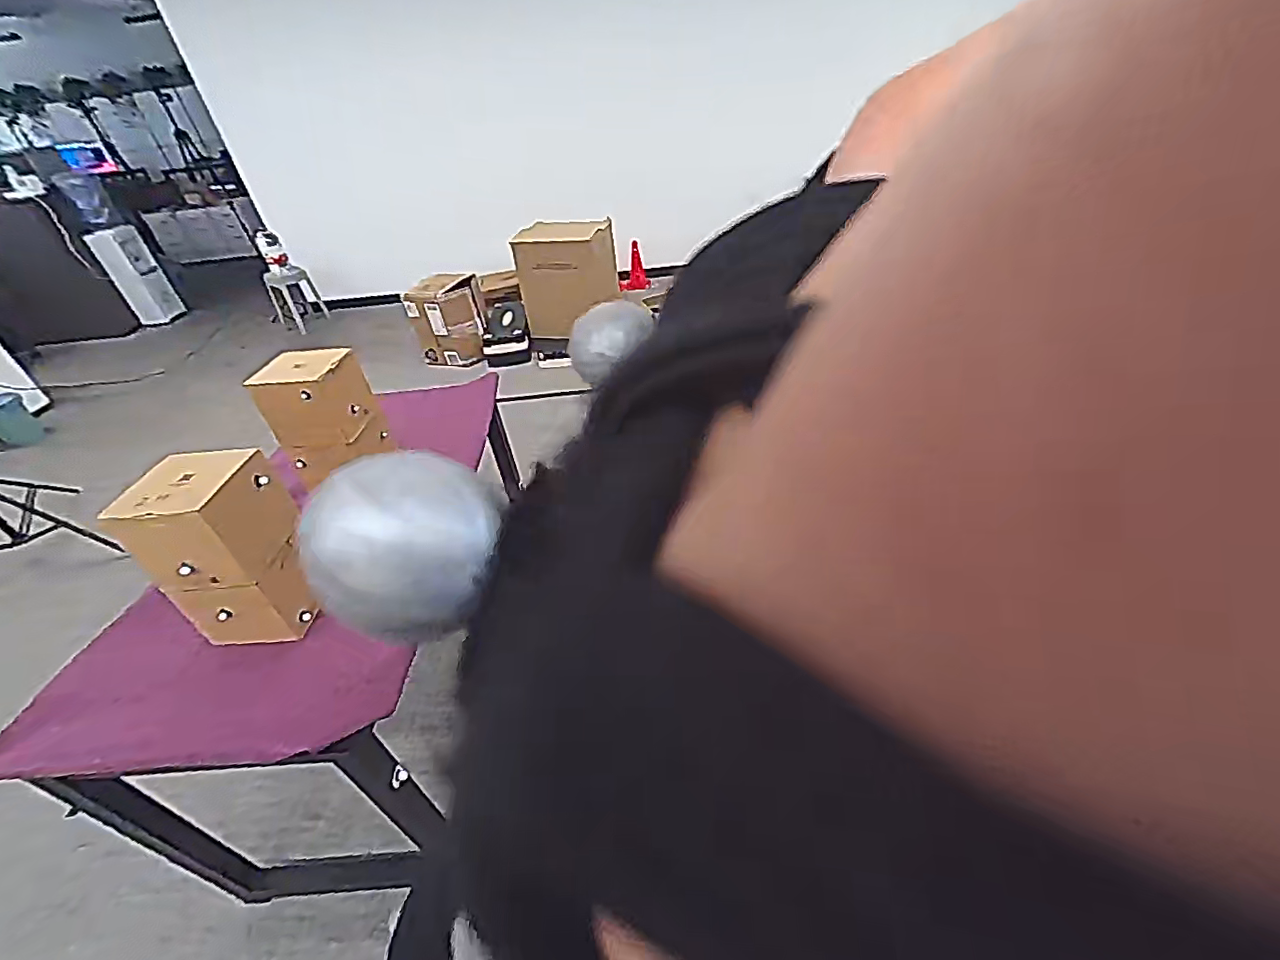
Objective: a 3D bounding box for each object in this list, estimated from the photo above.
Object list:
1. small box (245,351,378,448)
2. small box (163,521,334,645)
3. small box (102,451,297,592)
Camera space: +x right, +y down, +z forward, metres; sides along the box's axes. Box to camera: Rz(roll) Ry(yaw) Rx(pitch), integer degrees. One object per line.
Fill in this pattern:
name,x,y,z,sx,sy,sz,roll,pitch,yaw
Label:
small box,-0.757,-0.186,1.268,0.179,0.176,0.168,-3,38,5
small box,-0.730,0.198,1.038,0.179,0.176,0.168,-5,37,3
small box,-0.736,0.070,0.934,0.168,0.176,0.179,-5,37,3
